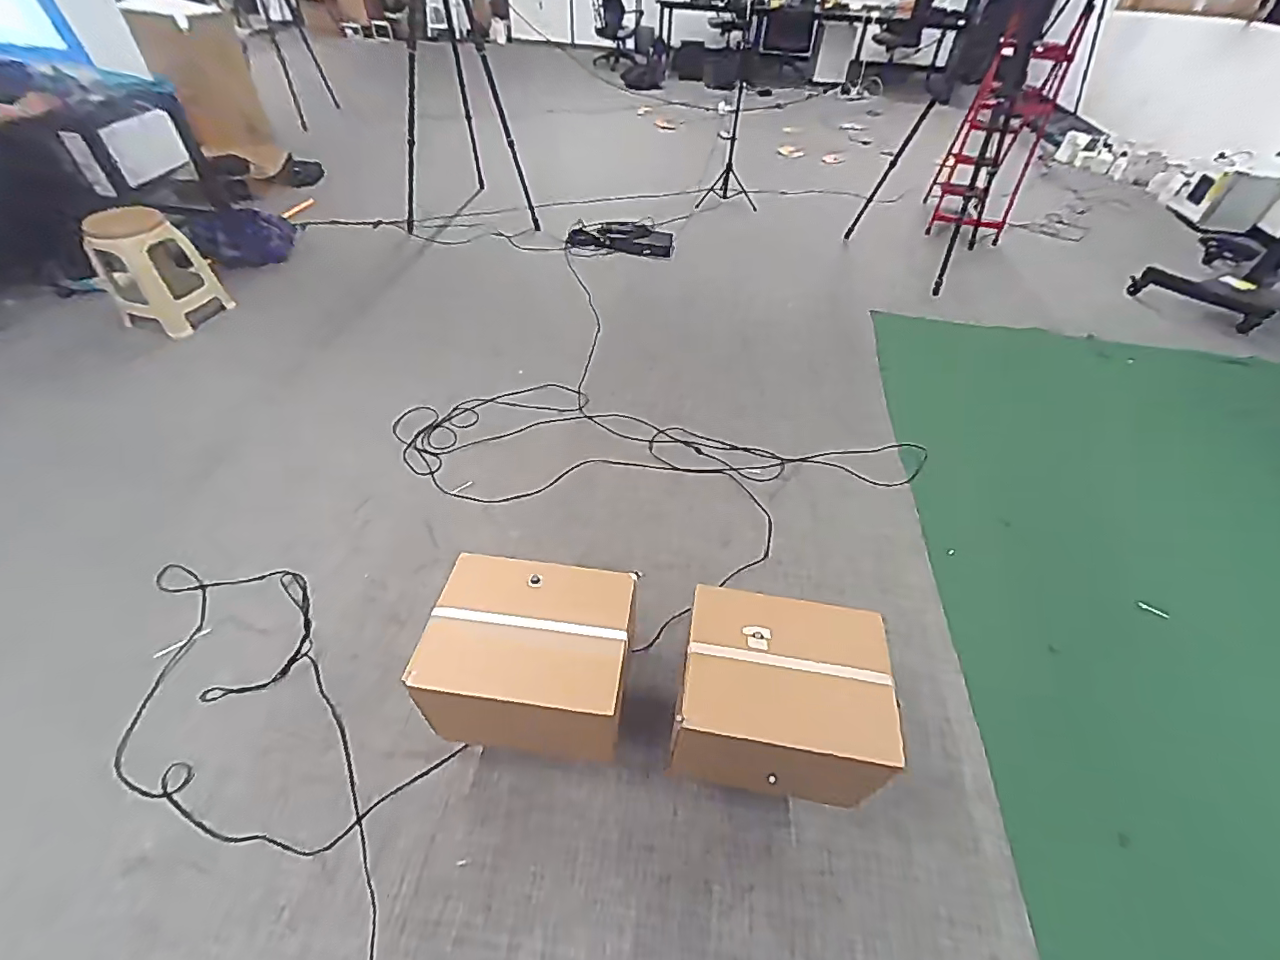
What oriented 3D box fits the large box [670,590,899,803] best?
[{"bbox_3d":[0.293,0.482,1.198,0.408,0.320,0.320,8,47,5],"label":"large box"}]
